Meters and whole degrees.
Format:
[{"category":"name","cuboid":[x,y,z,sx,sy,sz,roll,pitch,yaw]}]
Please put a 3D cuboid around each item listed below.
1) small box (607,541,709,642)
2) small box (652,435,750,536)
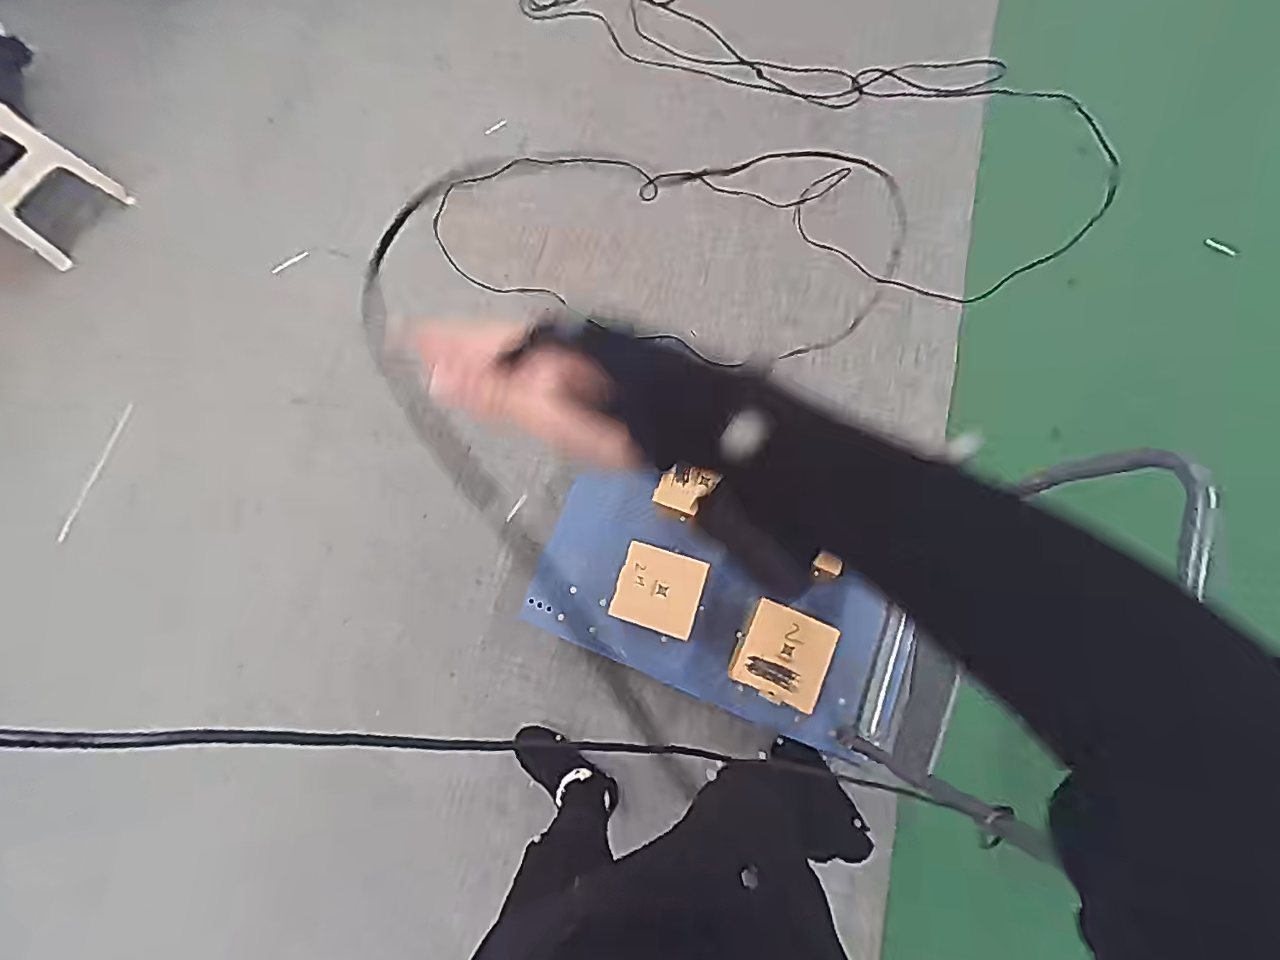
[{"category":"small box","cuboid":[0.044,0.249,1.200,0.179,0.176,0.168,16,76,9]},{"category":"small box","cuboid":[0.139,0.020,1.257,0.179,0.176,0.168,19,77,9]}]
